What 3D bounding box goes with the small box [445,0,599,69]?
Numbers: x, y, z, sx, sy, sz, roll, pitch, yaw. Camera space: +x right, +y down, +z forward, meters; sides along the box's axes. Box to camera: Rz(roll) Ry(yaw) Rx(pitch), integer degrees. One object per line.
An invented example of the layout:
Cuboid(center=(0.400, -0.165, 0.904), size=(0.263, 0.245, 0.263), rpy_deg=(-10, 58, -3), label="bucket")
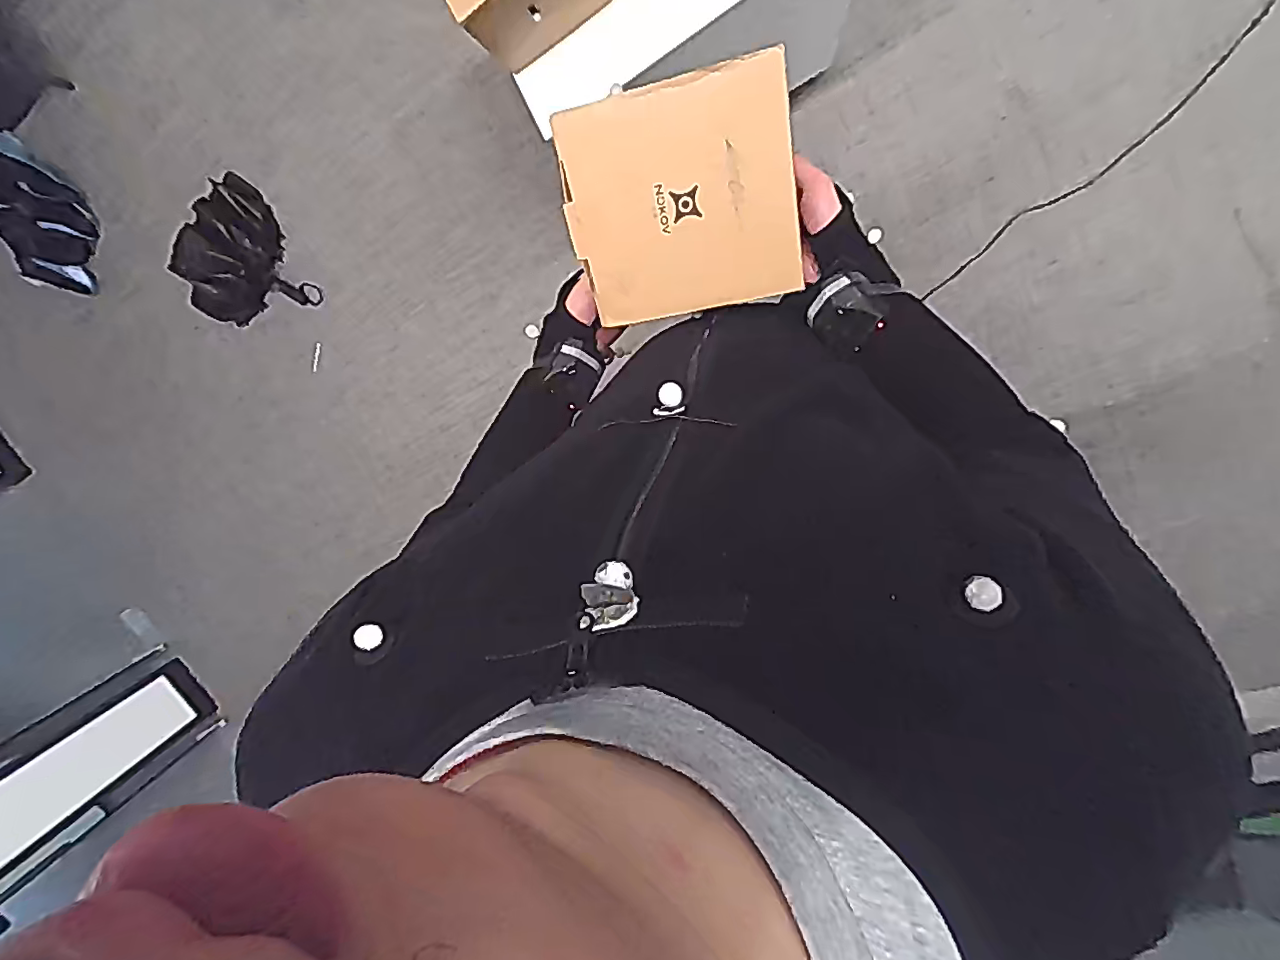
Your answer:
Cuboid(center=(-0.163, -0.673, 0.677), size=(0.179, 0.176, 0.168), rpy_deg=(-22, 103, 19), label="small box")
